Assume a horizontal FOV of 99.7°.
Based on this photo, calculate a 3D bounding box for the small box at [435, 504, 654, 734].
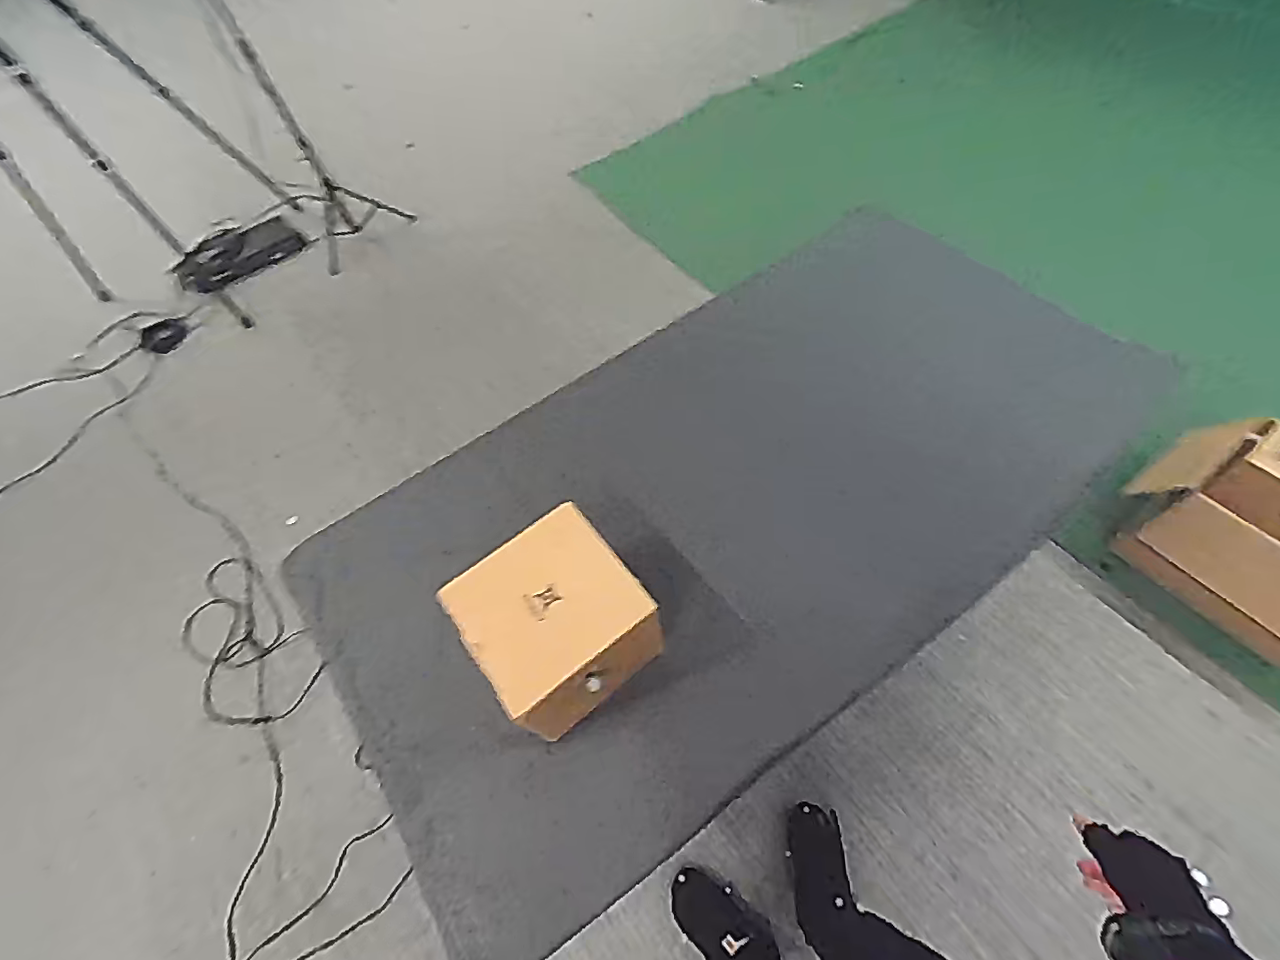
[{"bbox_3d":[-0.097,0.166,0.630,0.179,0.176,0.168,-37,62,-14],"label":"small box"}]
